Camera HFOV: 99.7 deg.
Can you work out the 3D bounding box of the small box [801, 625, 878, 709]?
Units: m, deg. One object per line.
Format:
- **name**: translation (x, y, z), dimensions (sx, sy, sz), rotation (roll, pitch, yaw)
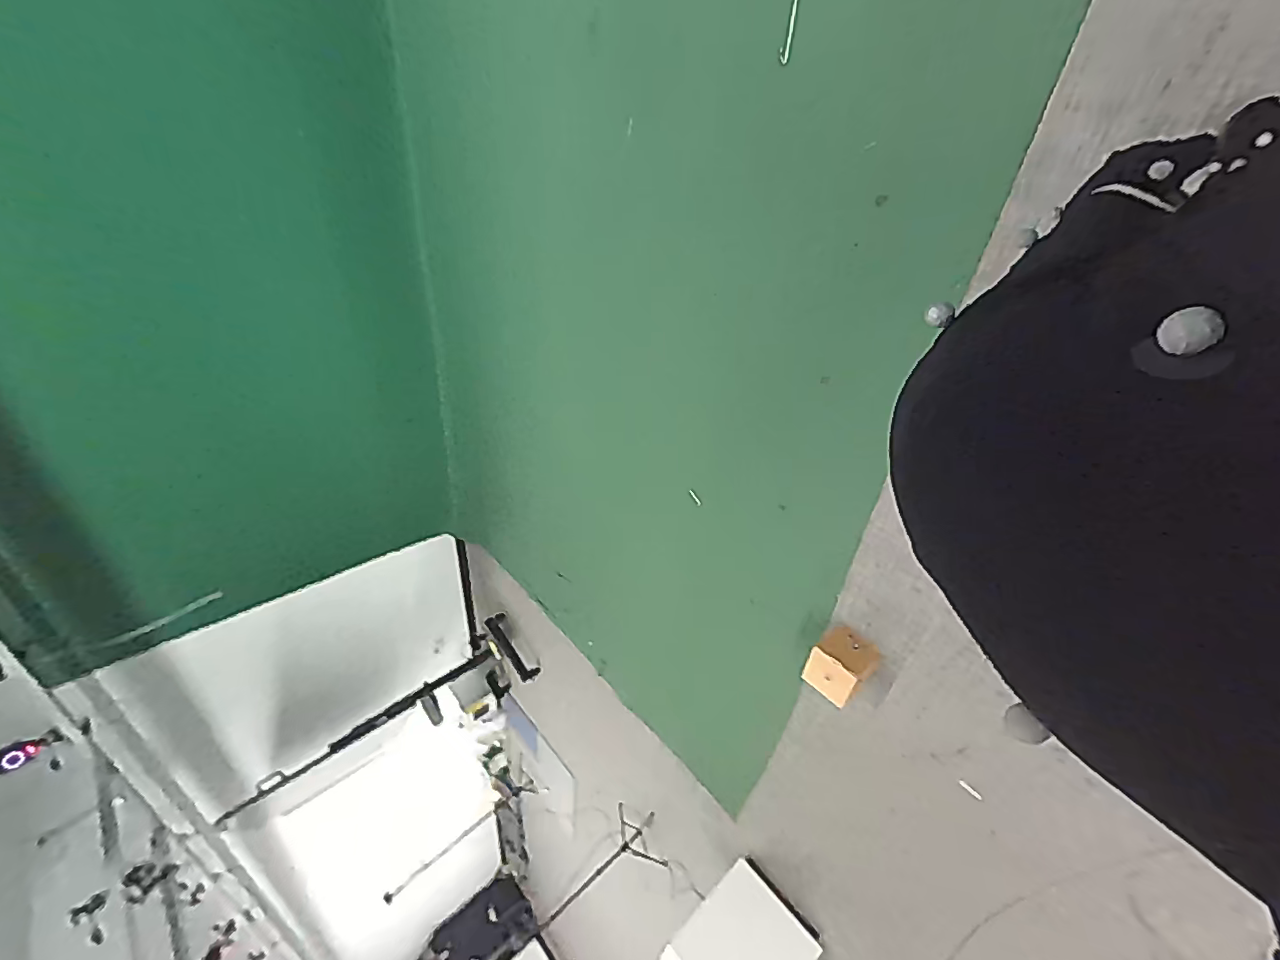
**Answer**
- **small box**: translation (0.690, 0.639, 1.865), dimensions (0.168, 0.176, 0.179), rotation (34, 132, 35)
